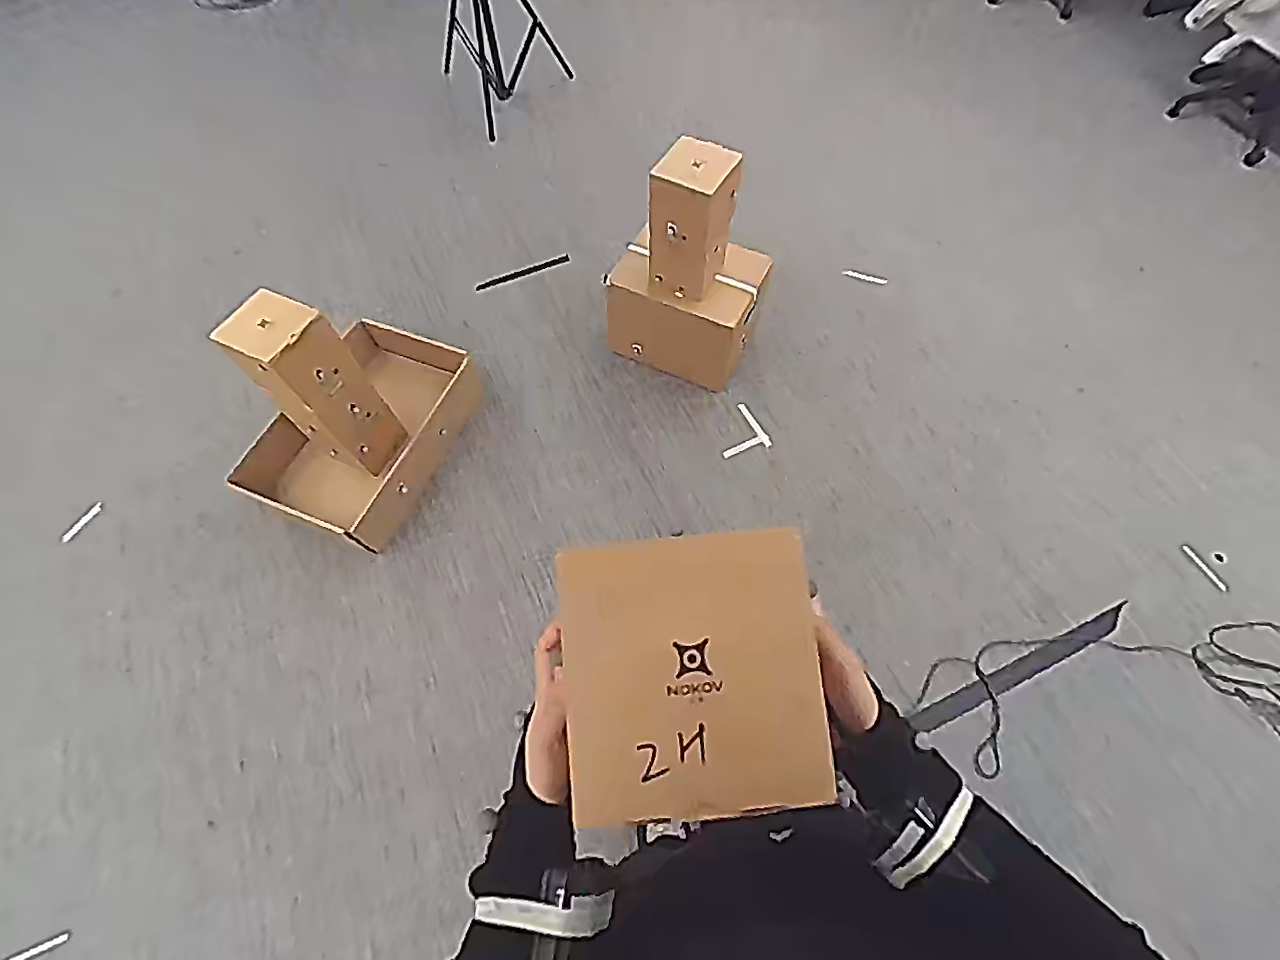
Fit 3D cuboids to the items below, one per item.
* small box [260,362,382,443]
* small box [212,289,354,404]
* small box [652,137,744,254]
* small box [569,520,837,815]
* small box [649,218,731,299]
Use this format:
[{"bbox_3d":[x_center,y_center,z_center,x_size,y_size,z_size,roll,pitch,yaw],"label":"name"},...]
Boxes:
[{"bbox_3d":[-0.808,-0.219,1.392,0.179,0.176,0.168,23,65,11],"label":"small box"},{"bbox_3d":[-0.813,-0.302,1.252,0.179,0.176,0.168,22,64,11],"label":"small box"},{"bbox_3d":[0.136,-0.705,1.348,0.168,0.176,0.179,27,67,13],"label":"small box"},{"bbox_3d":[0.036,0.131,0.427,0.168,0.176,0.179,-4,81,0],"label":"small box"},{"bbox_3d":[0.135,-0.637,1.495,0.168,0.176,0.179,25,65,11],"label":"small box"}]
